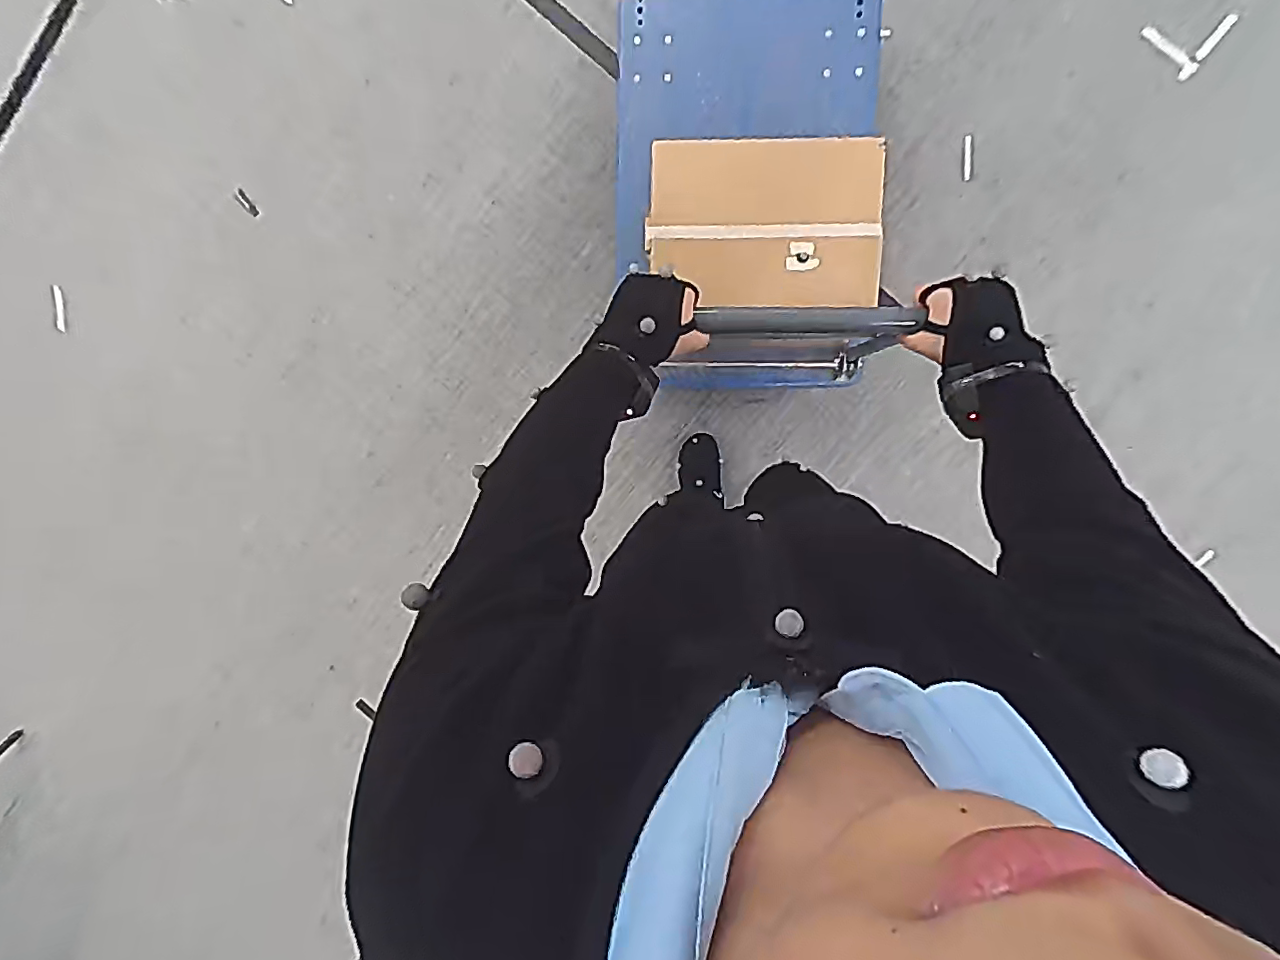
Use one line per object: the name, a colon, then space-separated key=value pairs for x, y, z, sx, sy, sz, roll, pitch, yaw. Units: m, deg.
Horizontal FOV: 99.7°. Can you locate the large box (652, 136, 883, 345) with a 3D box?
large box: x=0.229 y=-0.458 z=1.108 sx=0.408 sy=0.320 sz=0.320 roll=1 pitch=96 yaw=2
